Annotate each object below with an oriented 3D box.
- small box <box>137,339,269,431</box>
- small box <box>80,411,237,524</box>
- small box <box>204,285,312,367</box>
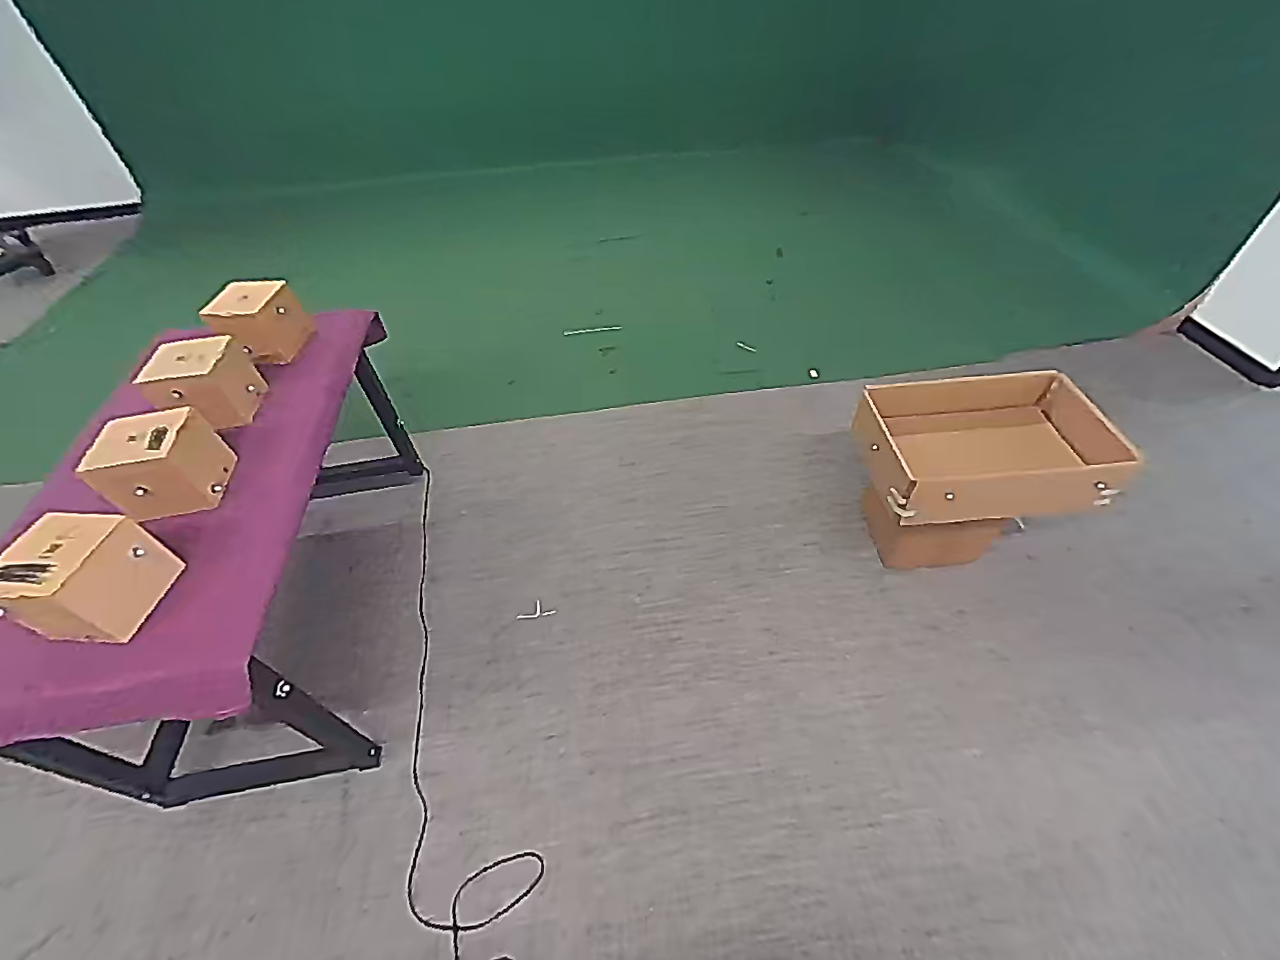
[{"bbox_3d":[-1.106,-0.234,1.386,0.179,0.176,0.168,-9,49,-3],"label":"small box"},{"bbox_3d":[-1.046,-0.026,1.197,0.179,0.176,0.168,-12,48,-5],"label":"small box"},{"bbox_3d":[-1.098,-0.448,1.576,0.168,0.176,0.179,-1,50,4],"label":"small box"}]
